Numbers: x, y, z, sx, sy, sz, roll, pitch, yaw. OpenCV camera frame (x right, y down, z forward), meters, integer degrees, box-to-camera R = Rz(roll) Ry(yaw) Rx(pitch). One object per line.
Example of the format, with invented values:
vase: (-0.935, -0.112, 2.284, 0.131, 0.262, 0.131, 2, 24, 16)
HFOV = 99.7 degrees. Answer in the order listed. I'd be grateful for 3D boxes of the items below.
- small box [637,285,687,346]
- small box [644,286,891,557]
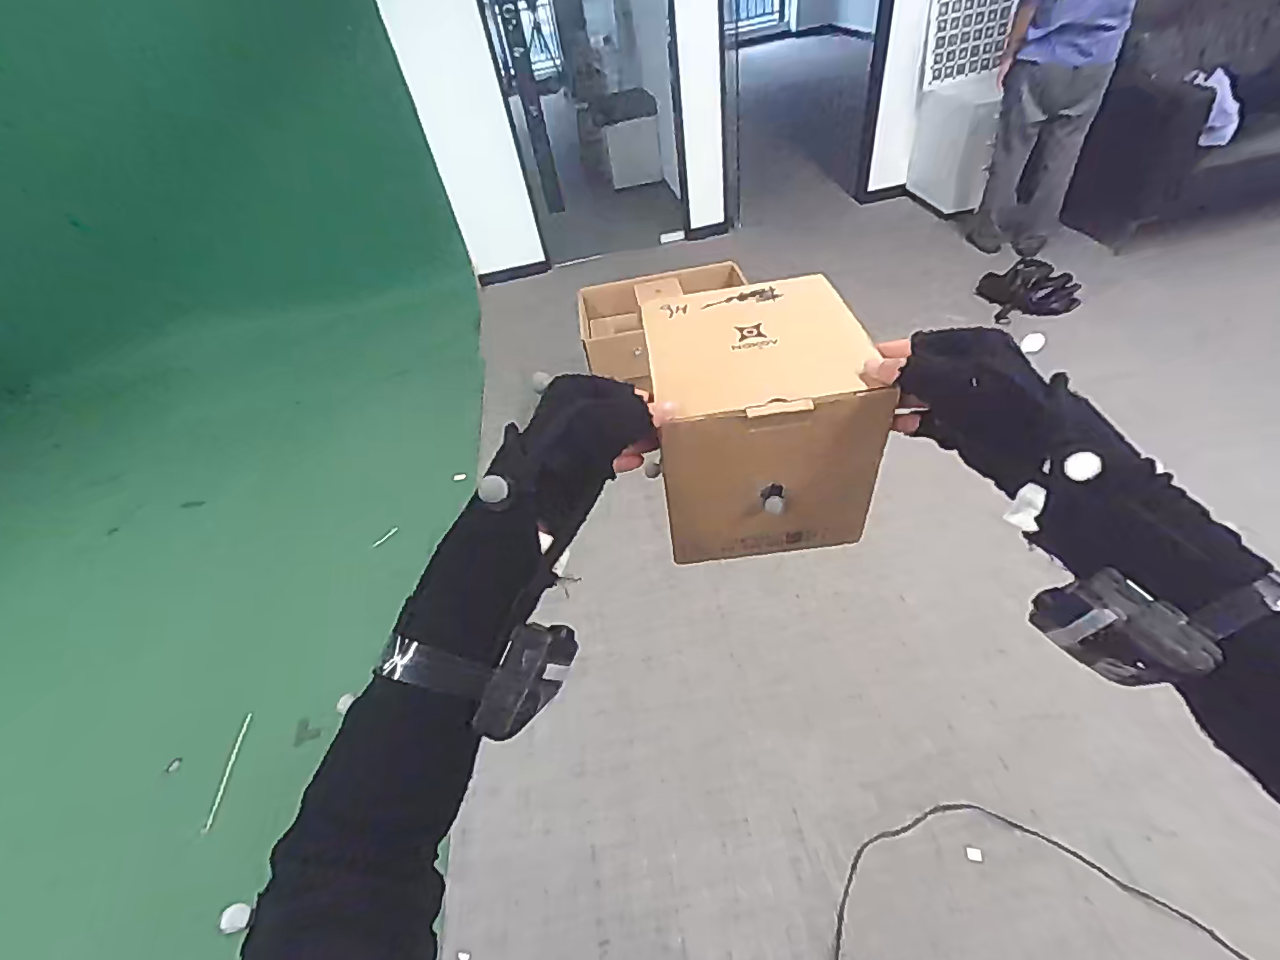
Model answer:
small box: (0.088, -0.592, 1.995, 0.168, 0.176, 0.179, -10, 42, -1)
small box: (0.098, -0.045, 0.484, 0.168, 0.176, 0.179, -8, 44, 3)
